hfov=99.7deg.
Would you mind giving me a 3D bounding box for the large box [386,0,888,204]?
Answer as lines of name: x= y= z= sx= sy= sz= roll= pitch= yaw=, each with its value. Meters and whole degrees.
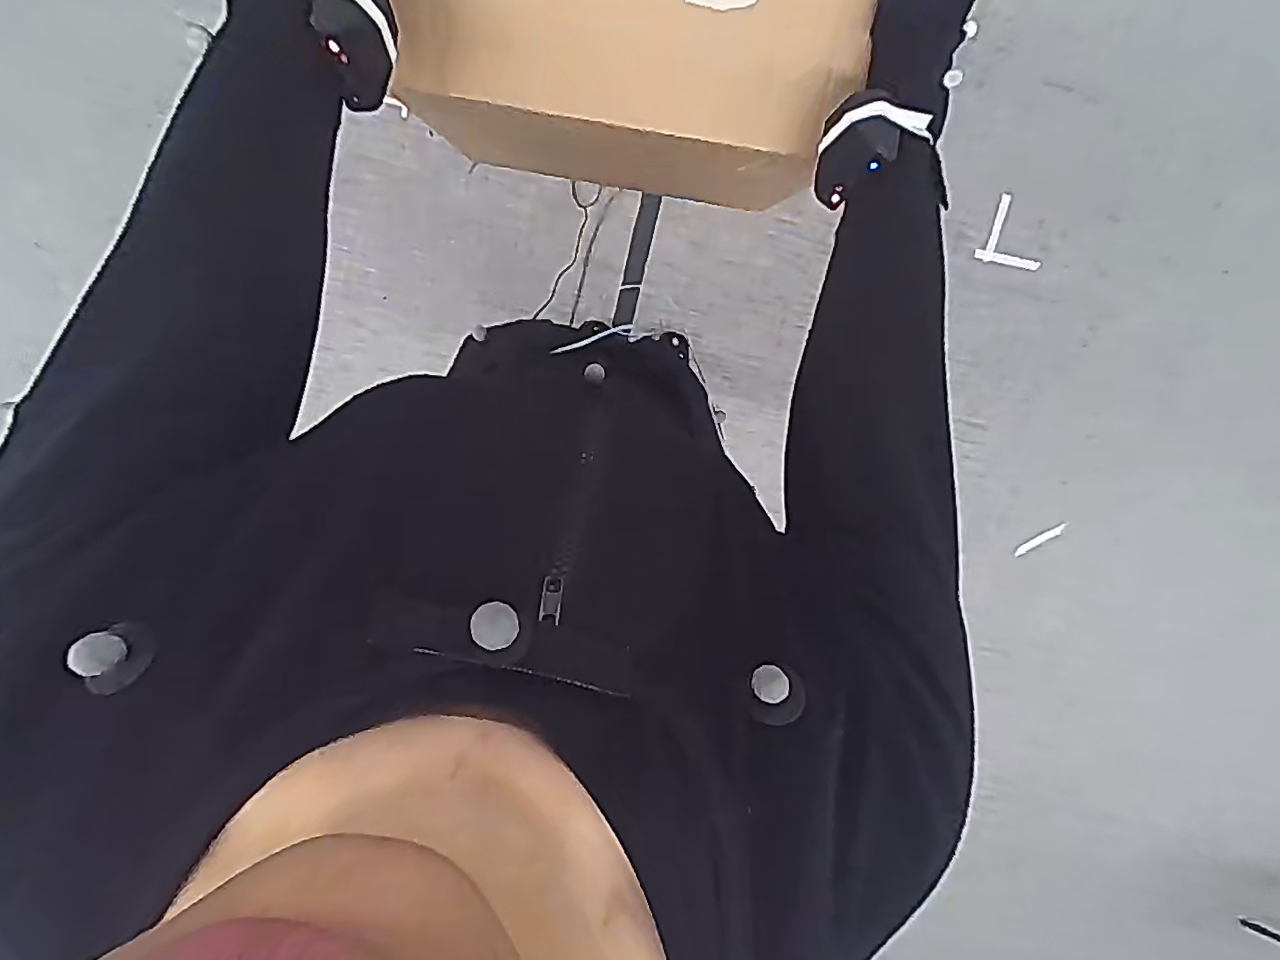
large box: x=0.003 y=-0.496 z=0.547 sx=0.408 sy=0.320 sz=0.320 roll=7 pitch=110 yaw=-5
